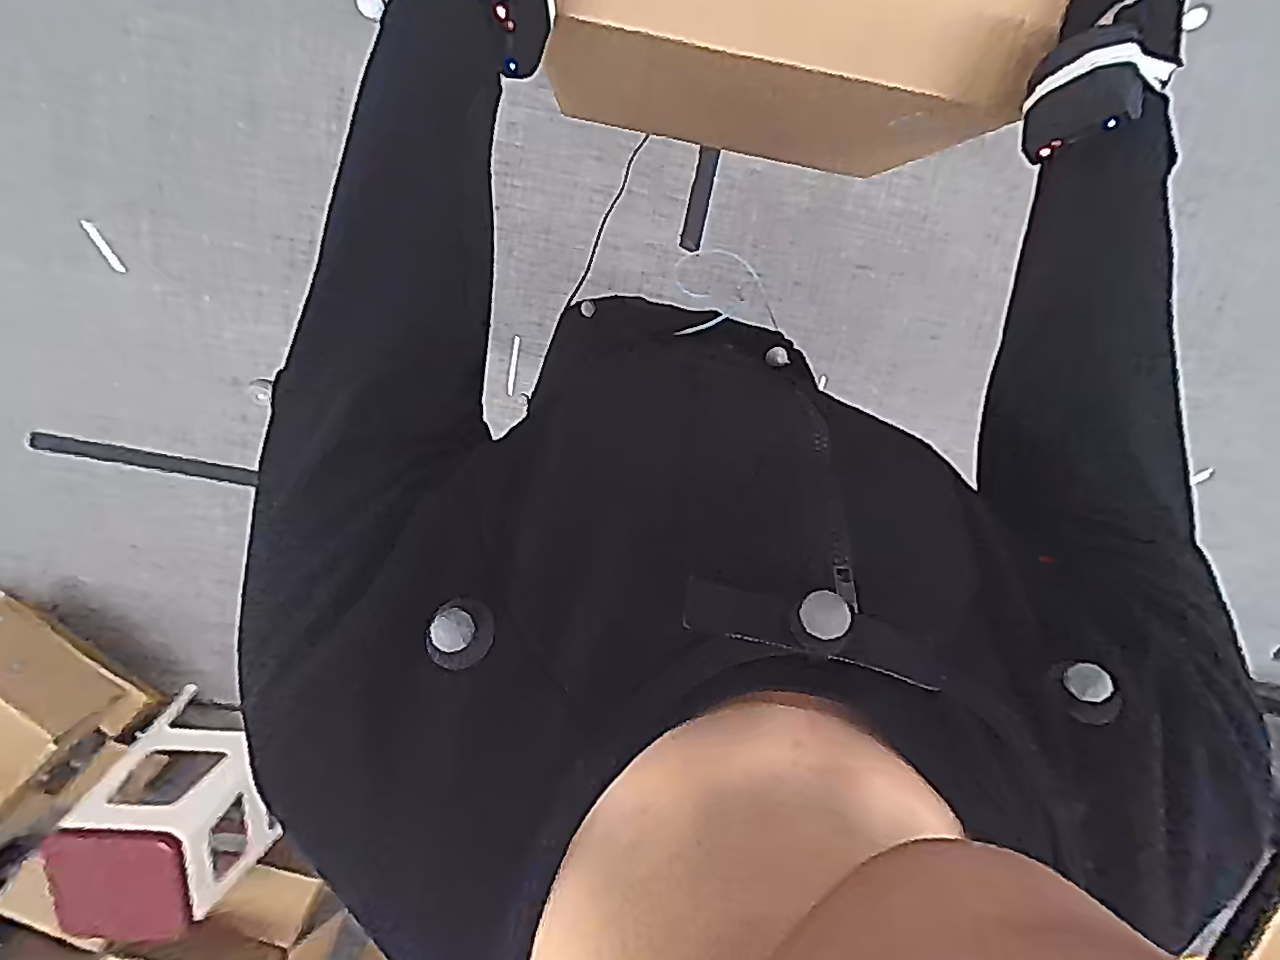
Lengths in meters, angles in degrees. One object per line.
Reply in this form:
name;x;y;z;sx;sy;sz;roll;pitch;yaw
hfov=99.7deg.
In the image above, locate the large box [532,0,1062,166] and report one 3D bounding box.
large box;0.128;-0.518;0.498;0.408;0.320;0.320;8;112;-5
